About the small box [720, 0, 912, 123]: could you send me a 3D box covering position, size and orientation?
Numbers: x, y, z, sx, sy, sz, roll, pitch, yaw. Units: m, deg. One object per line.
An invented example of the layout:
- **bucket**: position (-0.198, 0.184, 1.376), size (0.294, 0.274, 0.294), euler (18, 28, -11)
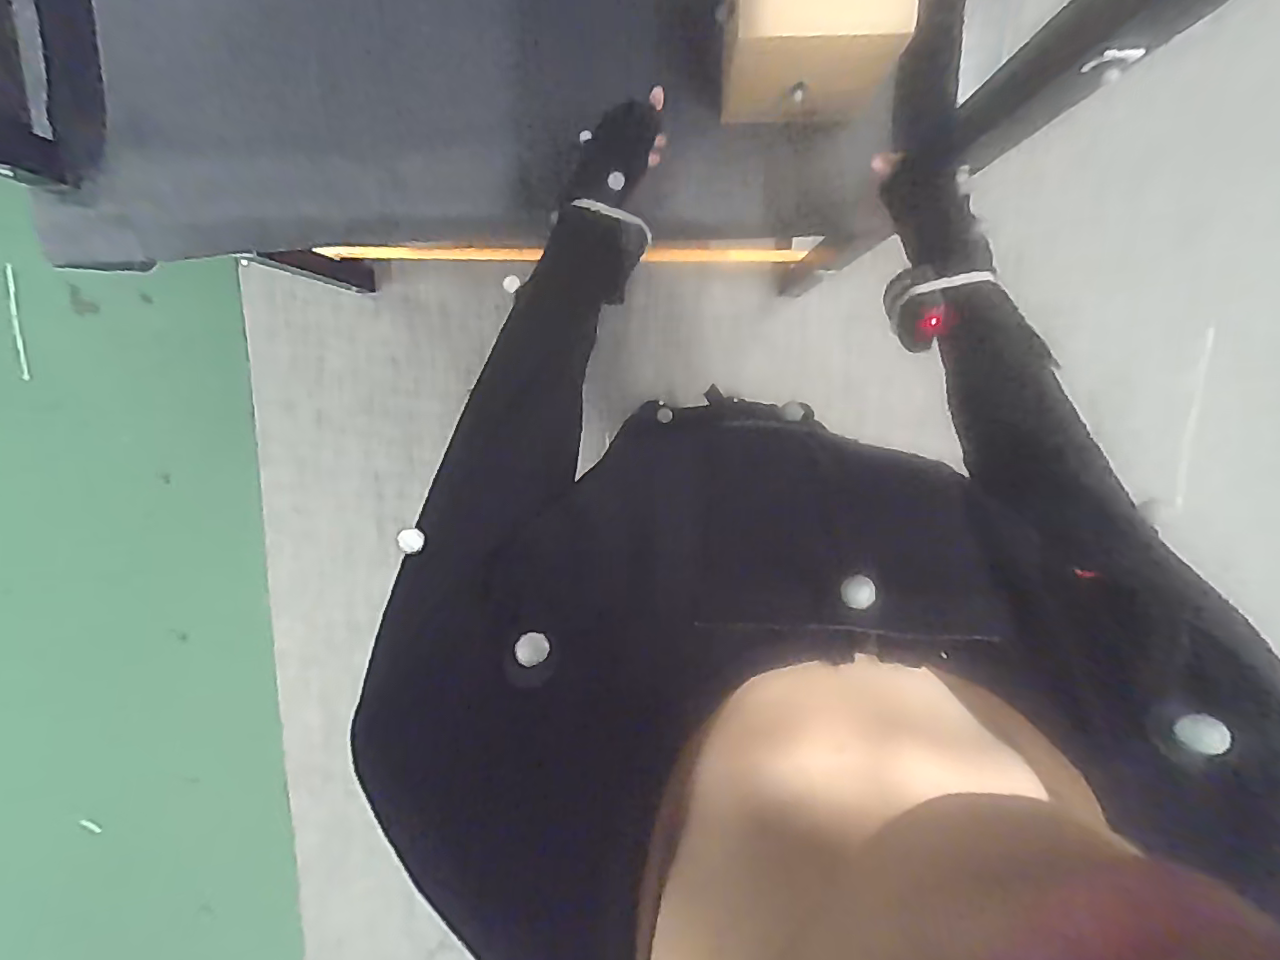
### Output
- **small box**: position (0.177, -0.509, 0.575), size (0.168, 0.176, 0.179), euler (1, 98, 3)
